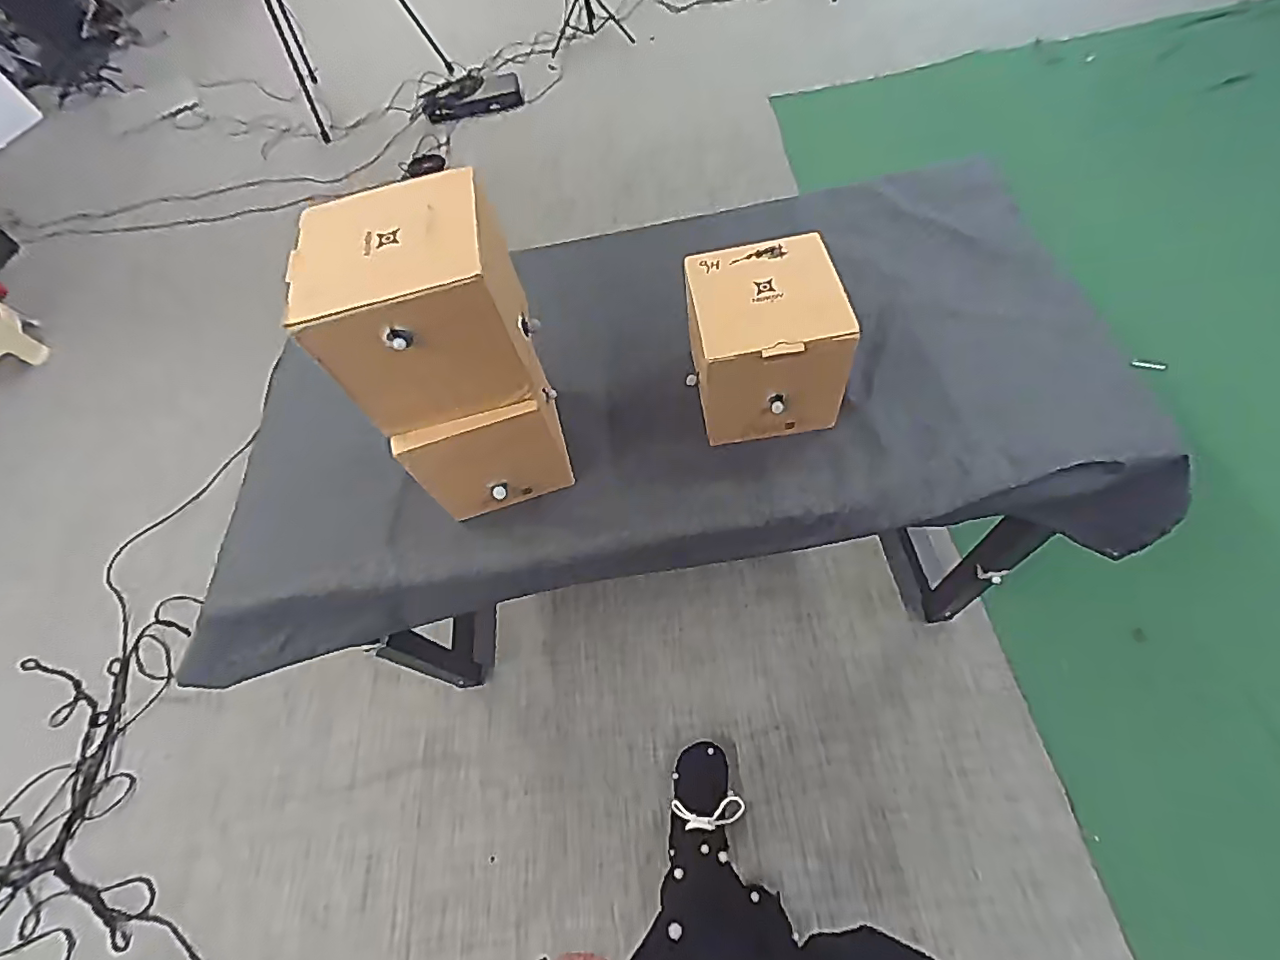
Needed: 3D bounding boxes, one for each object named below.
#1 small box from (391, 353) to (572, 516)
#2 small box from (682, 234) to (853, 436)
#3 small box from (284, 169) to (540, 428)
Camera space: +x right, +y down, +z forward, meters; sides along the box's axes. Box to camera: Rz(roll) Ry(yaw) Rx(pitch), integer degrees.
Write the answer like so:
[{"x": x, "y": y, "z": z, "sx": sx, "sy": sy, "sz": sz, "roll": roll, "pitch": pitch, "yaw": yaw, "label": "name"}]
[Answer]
[{"x": -0.197, "y": -0.081, "z": 0.687, "sx": 0.168, "sy": 0.176, "sz": 0.179, "roll": -18, "pitch": 60, "yaw": -1, "label": "small box"}, {"x": 0.151, "y": -0.171, "z": 0.684, "sx": 0.168, "sy": 0.176, "sz": 0.179, "roll": -9, "pitch": 60, "yaw": 4, "label": "small box"}, {"x": -0.217, "y": -0.175, "z": 0.556, "sx": 0.179, "sy": 0.176, "sz": 0.168, "roll": -14, "pitch": 60, "yaw": 0, "label": "small box"}]
